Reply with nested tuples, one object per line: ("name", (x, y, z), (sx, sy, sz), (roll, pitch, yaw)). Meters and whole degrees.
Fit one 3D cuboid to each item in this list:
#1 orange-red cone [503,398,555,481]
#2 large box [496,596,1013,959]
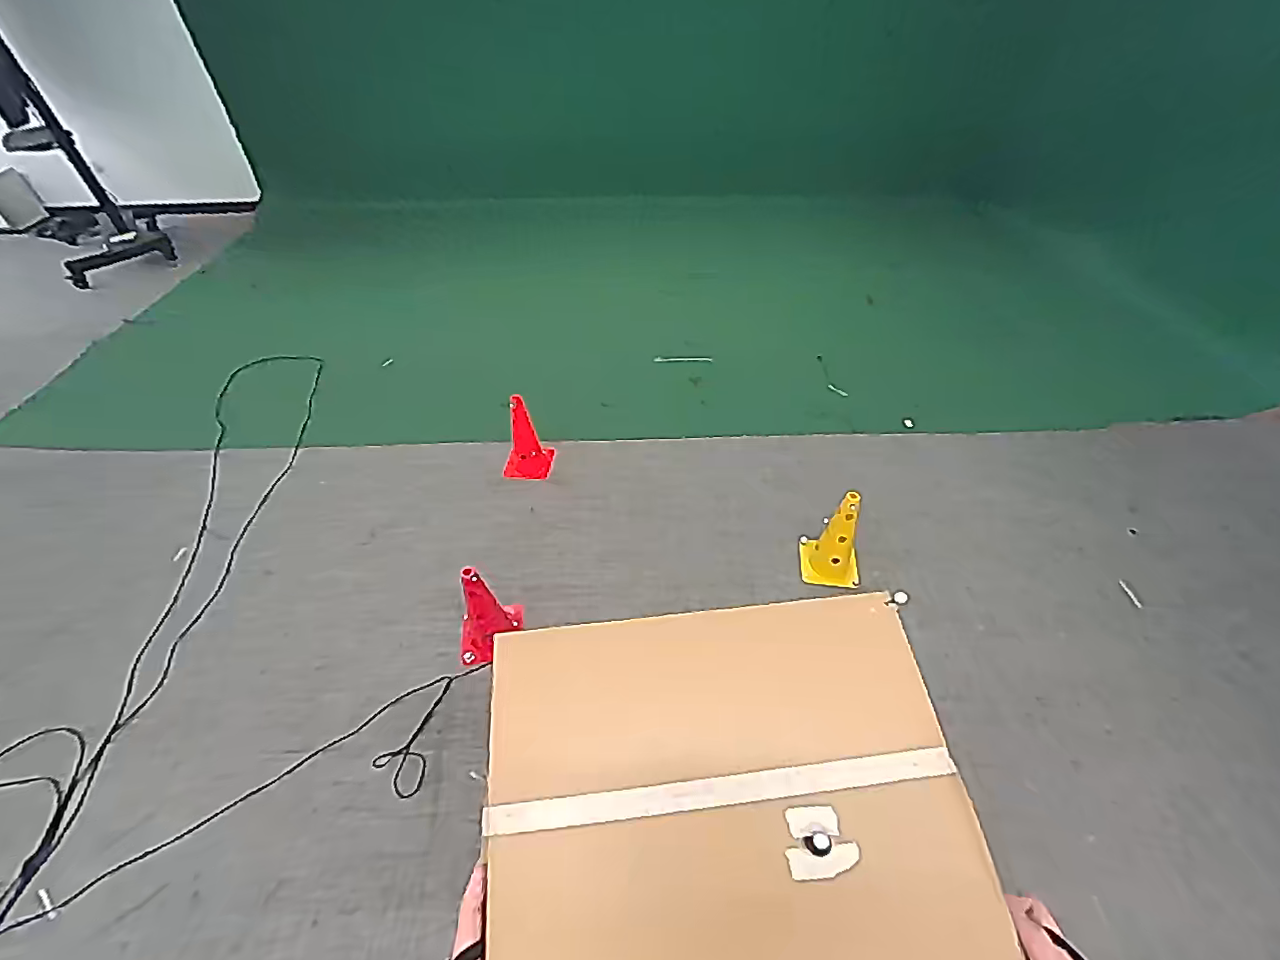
("orange-red cone", (-0.494, -0.189, 2.262), (0.199, 0.360, 0.198), (3, 44, 6))
("large box", (0.071, 0.350, 0.601), (0.408, 0.320, 0.320), (-5, 59, -4))
